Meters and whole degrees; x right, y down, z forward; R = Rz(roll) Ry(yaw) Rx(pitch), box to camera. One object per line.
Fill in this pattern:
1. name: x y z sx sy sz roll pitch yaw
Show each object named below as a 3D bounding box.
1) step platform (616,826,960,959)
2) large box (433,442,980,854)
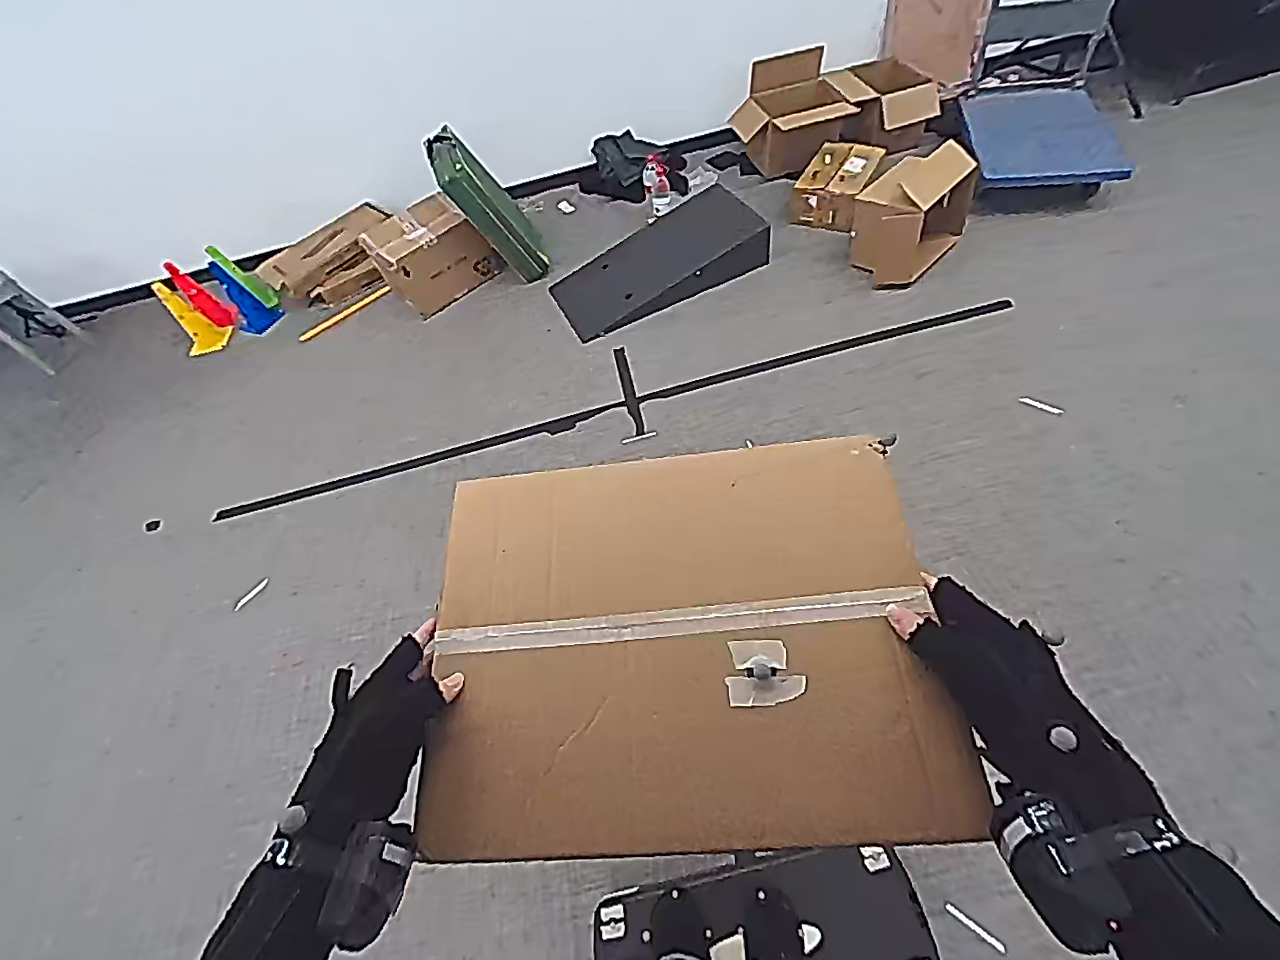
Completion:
1. step platform: 0.290 0.964 1.146 0.684 0.204 0.286 -15 54 0
2. large box: 0.050 0.191 0.586 0.408 0.320 0.320 -6 62 6
